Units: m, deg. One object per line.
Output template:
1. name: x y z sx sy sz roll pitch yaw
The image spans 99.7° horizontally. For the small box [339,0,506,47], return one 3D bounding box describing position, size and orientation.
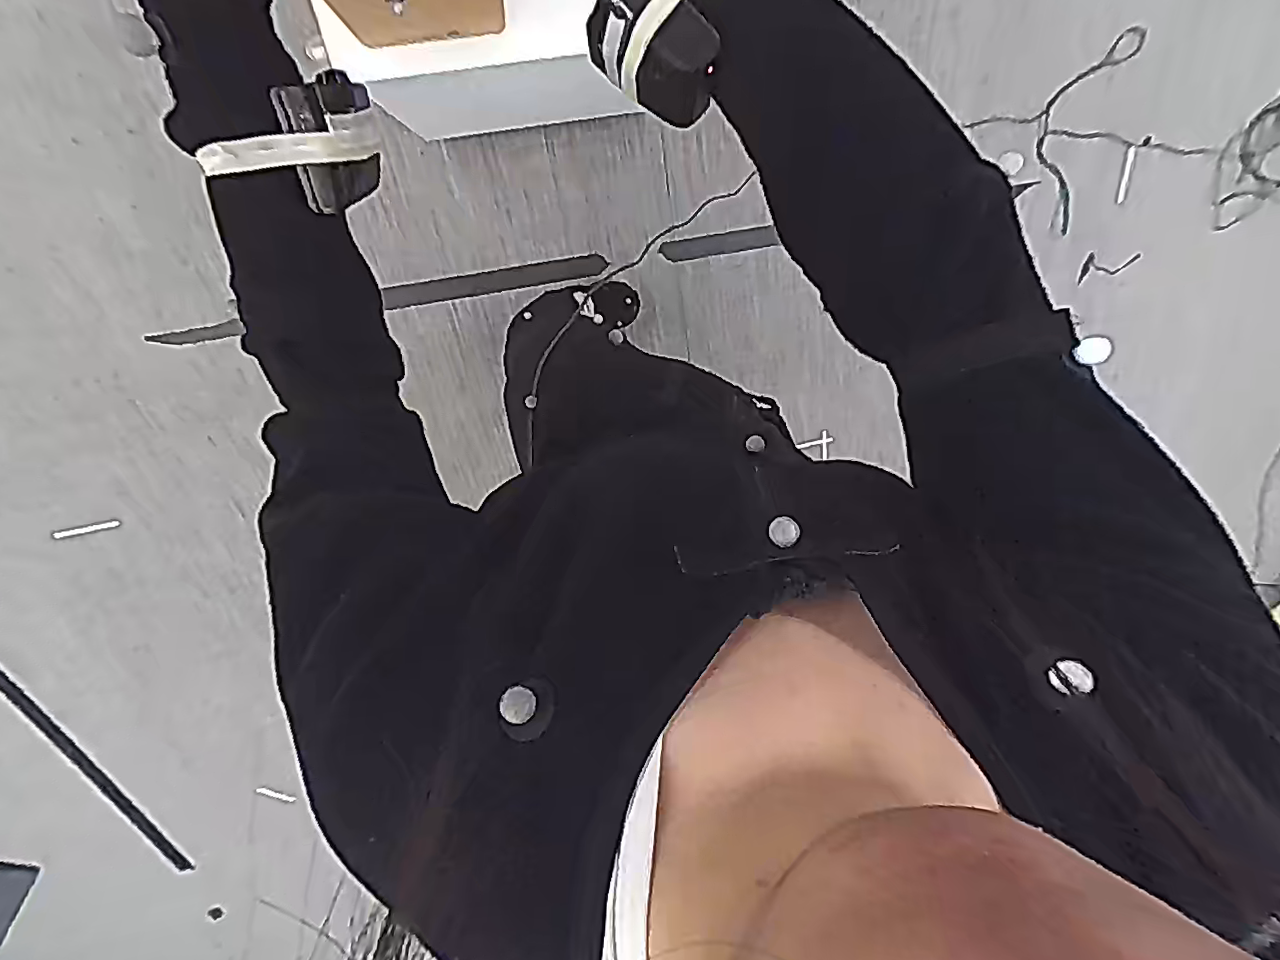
1. small box: -0.229 -0.553 0.514 0.168 0.176 0.179 -12 116 -7
